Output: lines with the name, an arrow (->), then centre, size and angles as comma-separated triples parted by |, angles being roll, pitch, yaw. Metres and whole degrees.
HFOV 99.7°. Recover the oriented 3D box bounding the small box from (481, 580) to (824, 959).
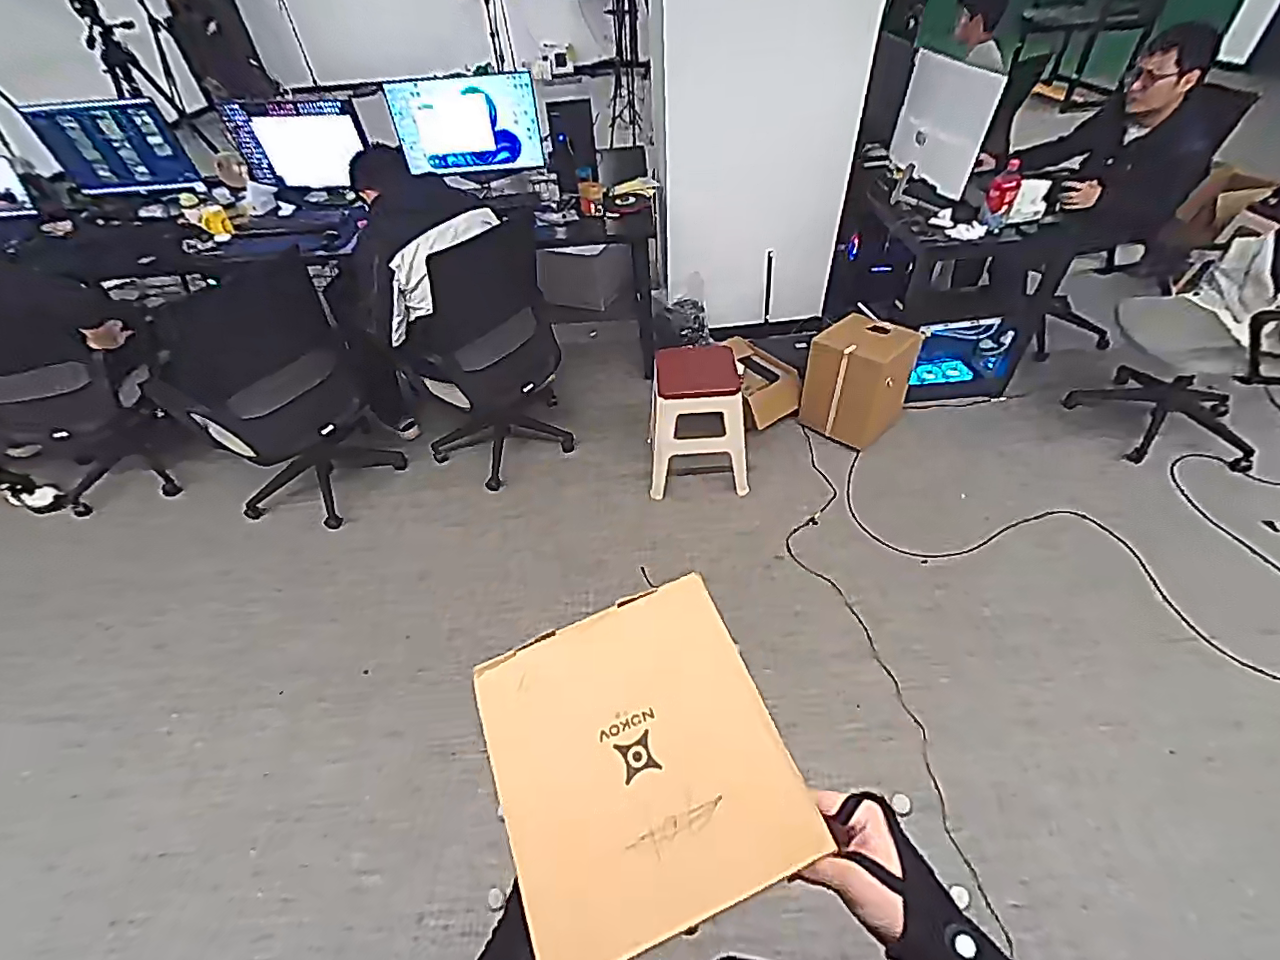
small box -> 0.003, 0.206, 0.399 | 0.168, 0.176, 0.179 | -21, 59, -7
